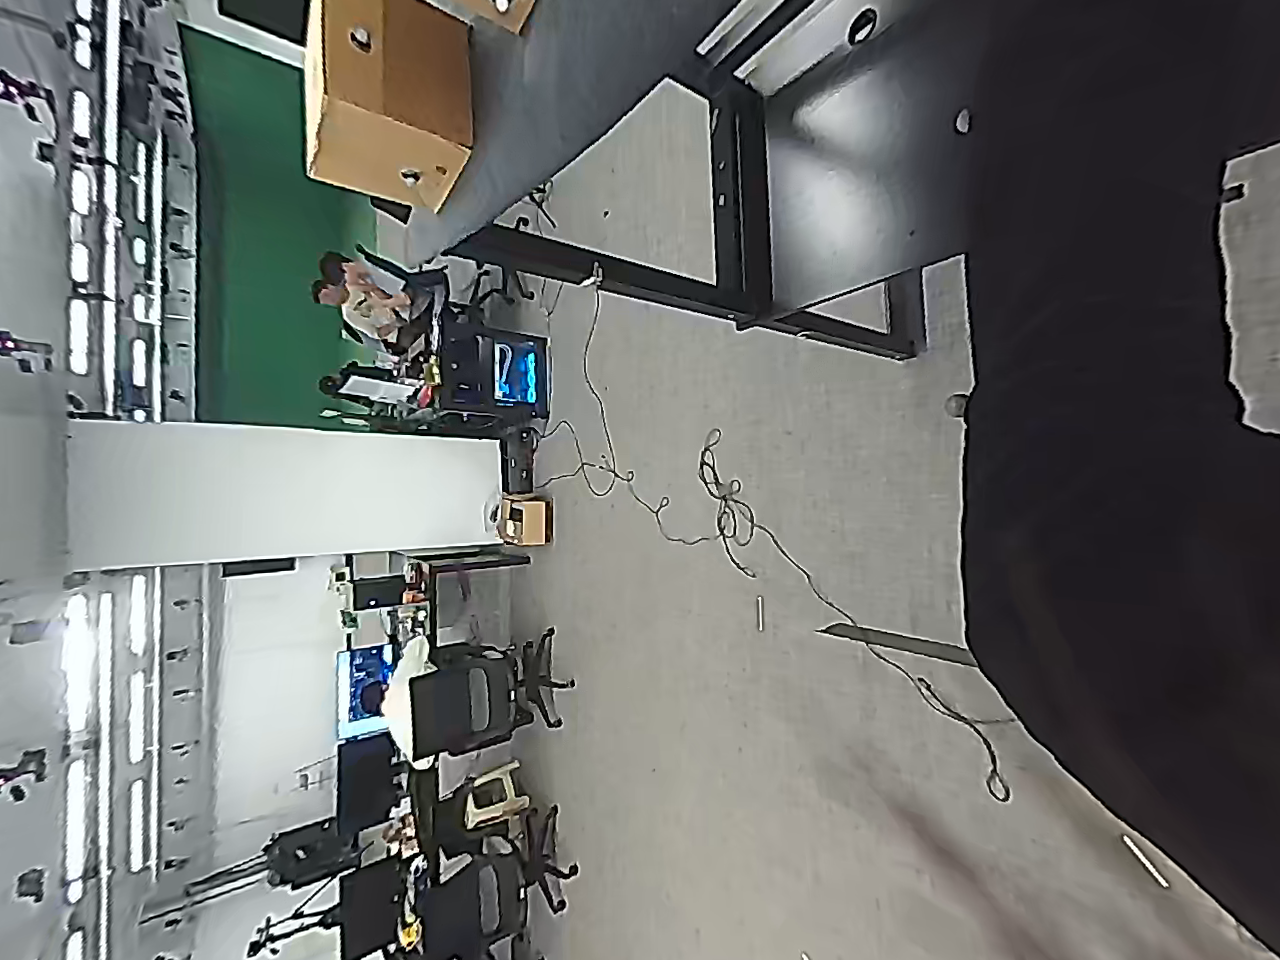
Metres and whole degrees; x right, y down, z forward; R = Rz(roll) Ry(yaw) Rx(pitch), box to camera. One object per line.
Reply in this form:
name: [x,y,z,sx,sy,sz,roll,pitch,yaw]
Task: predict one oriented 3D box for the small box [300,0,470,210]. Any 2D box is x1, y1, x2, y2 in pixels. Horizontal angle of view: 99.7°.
small box: [-0.329,-0.486,0.695,0.168,0.176,0.179,-11,82,54]
